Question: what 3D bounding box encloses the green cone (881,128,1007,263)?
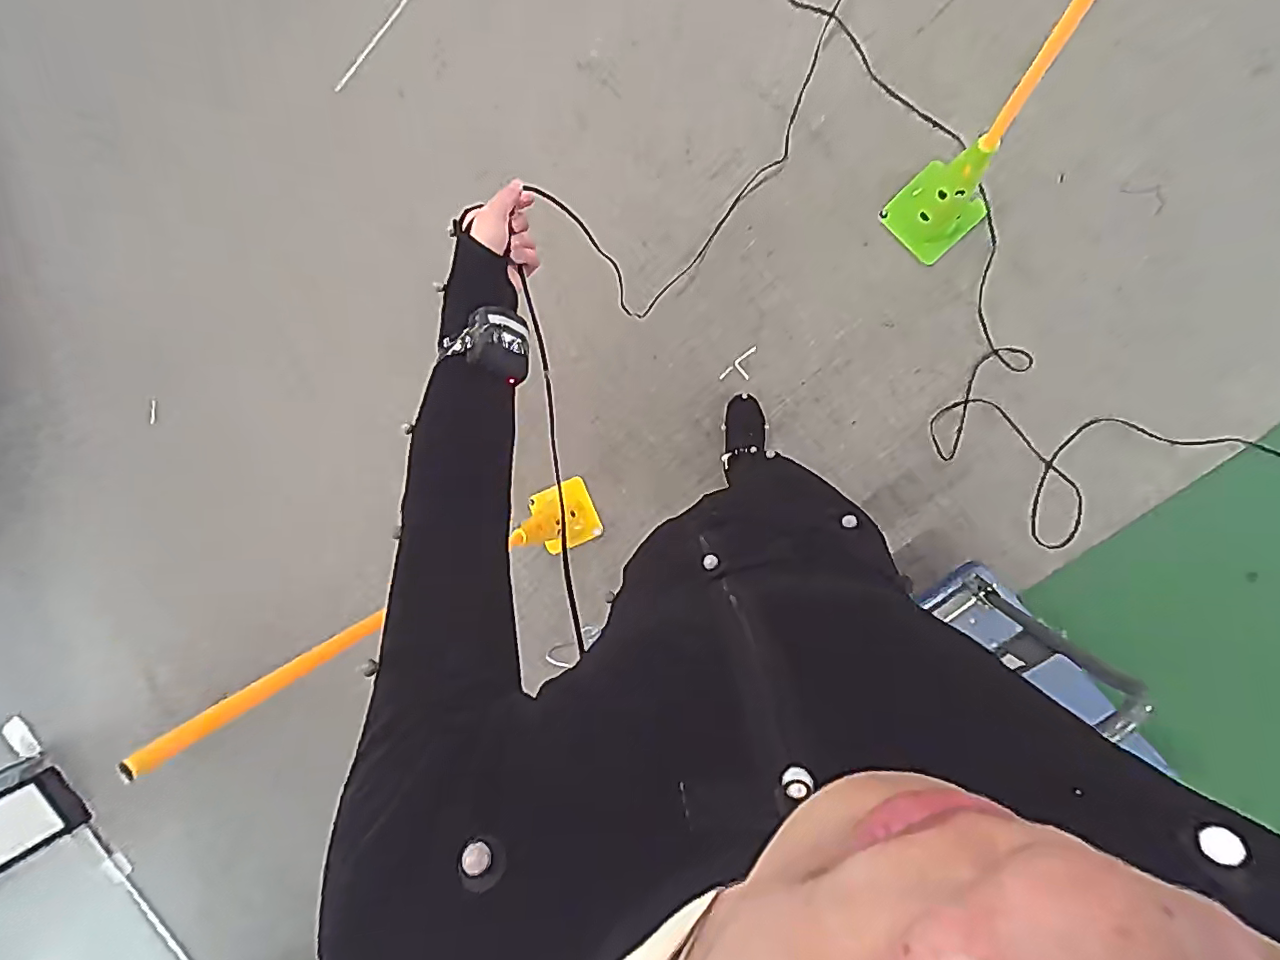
[{"bbox_3d":[0.735,-0.685,1.243,0.202,0.368,0.200,-44,86,11],"label":"green cone"}]
